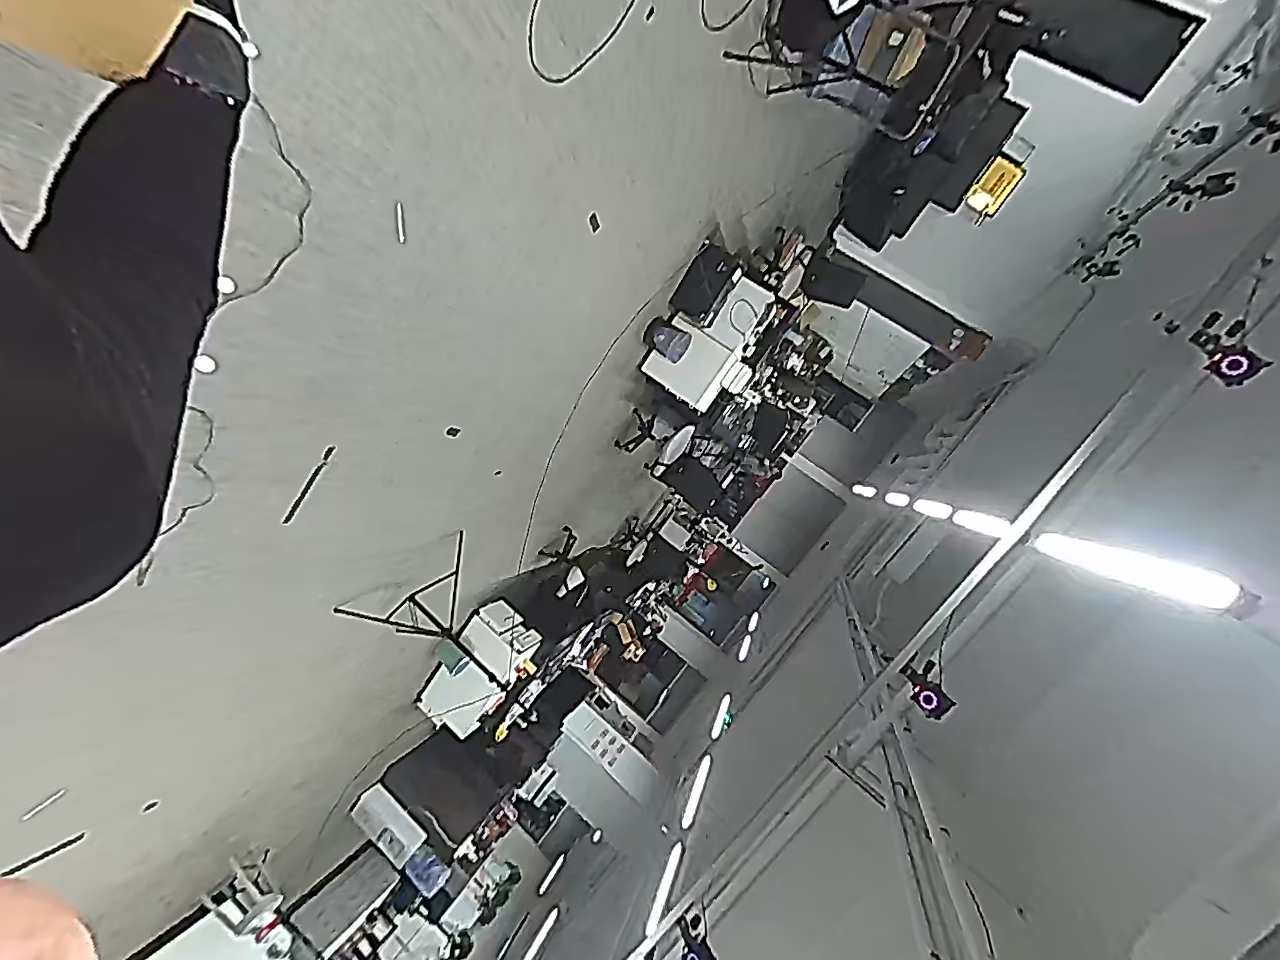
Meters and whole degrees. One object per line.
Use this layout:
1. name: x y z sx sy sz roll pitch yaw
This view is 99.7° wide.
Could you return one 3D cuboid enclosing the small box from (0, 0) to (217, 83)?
1. small box: -0.392 -0.387 0.324 0.179 0.176 0.168 -7 91 -56
